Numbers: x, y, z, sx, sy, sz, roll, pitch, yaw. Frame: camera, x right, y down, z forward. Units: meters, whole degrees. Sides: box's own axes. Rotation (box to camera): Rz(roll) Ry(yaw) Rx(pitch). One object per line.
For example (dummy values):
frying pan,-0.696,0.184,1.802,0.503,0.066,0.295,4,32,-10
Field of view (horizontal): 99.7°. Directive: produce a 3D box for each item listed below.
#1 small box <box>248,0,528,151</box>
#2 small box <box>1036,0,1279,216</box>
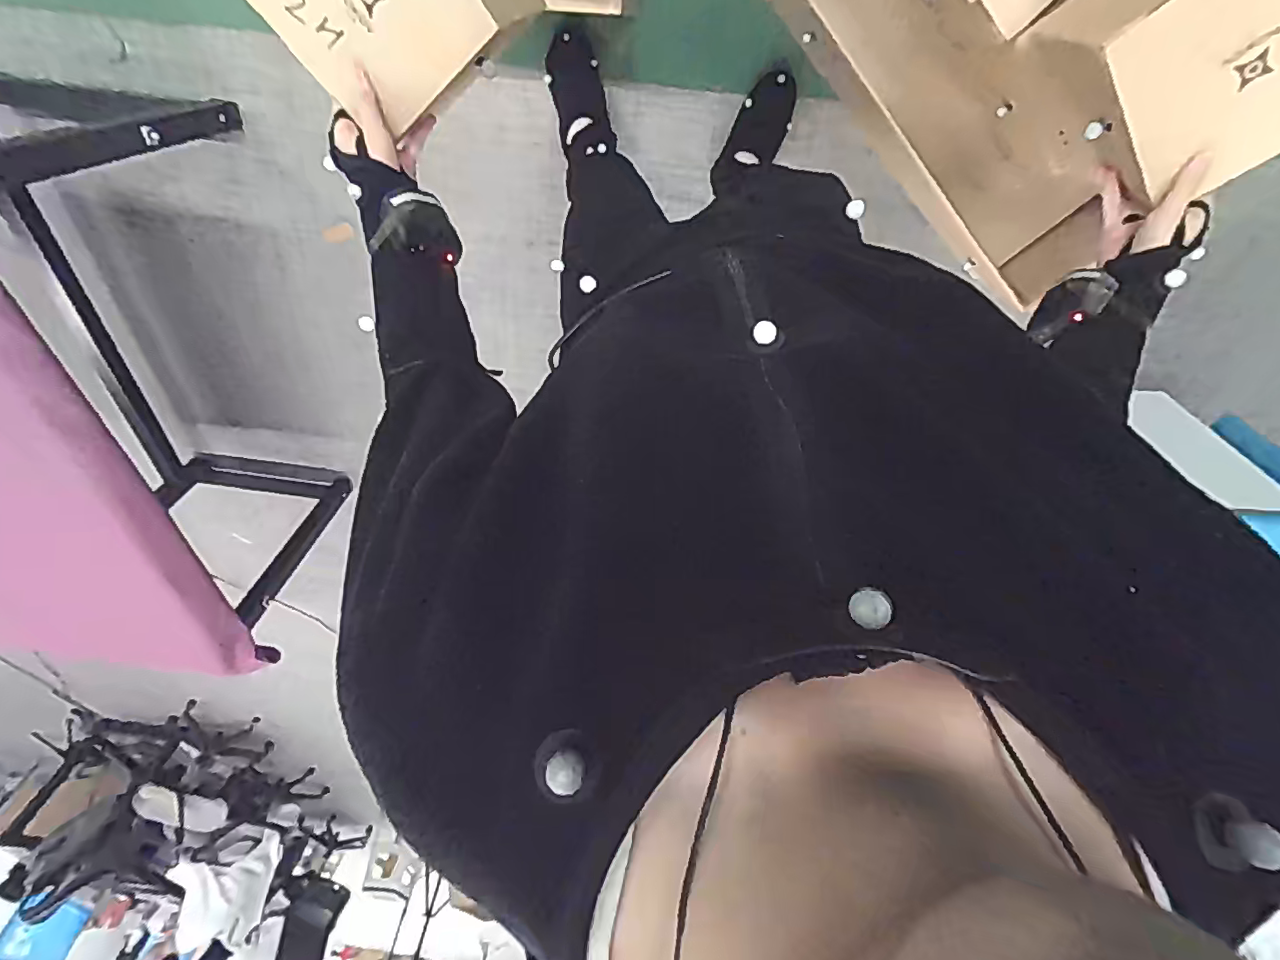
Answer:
small box,-0.226,-0.463,0.513,0.179,0.176,0.168,-21,128,29
small box,0.505,-0.388,0.492,0.168,0.176,0.179,-30,118,34
